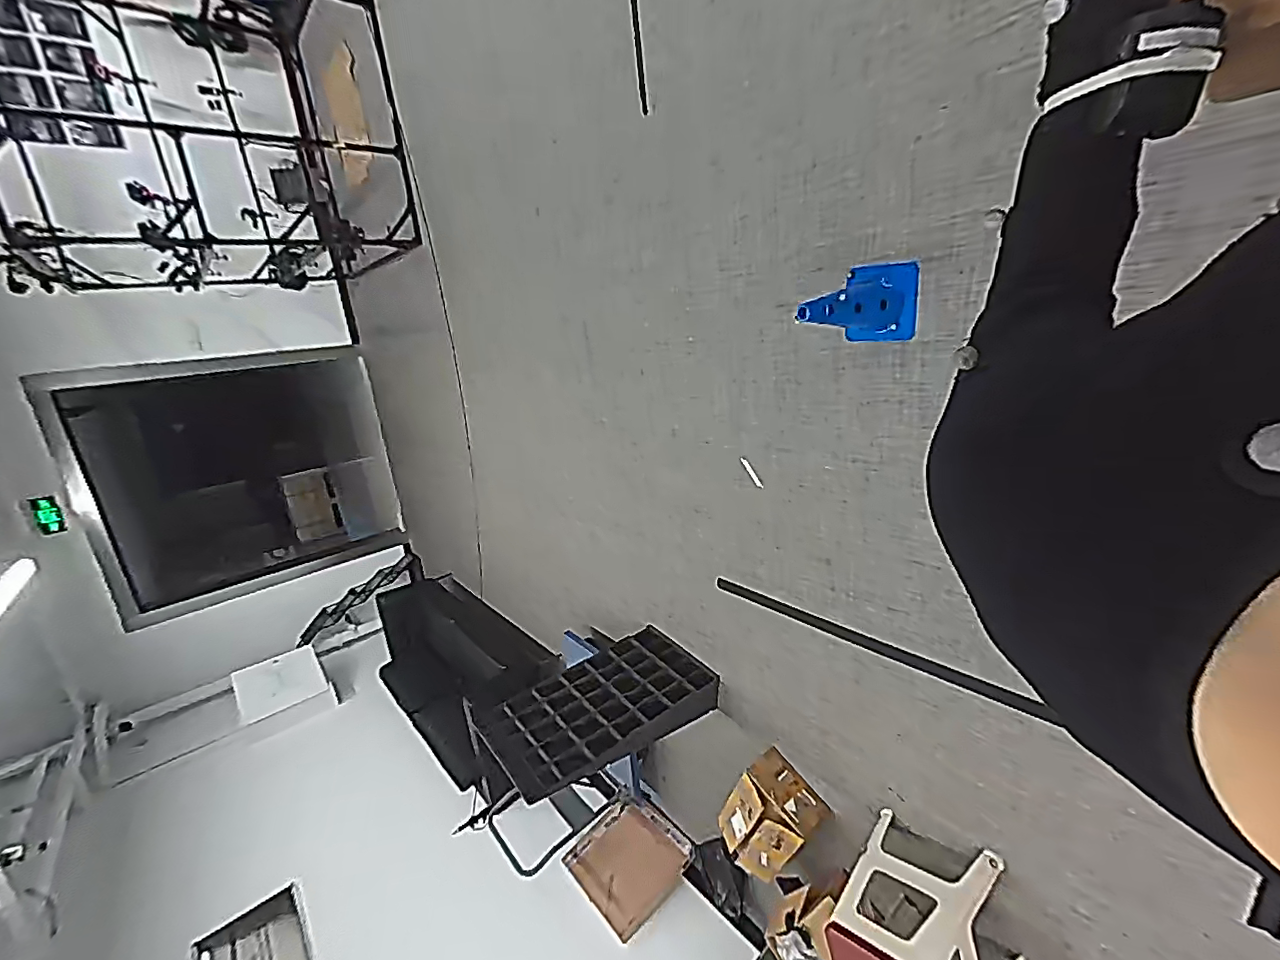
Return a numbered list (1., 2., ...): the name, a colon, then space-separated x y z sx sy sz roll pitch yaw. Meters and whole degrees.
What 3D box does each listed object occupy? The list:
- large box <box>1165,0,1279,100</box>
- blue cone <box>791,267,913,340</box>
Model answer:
1. large box: 0.566 -0.446 0.258 0.408 0.320 0.320 13 118 47
2. blue cone: 0.527 -0.443 1.394 0.192 0.380 0.193 19 120 49
